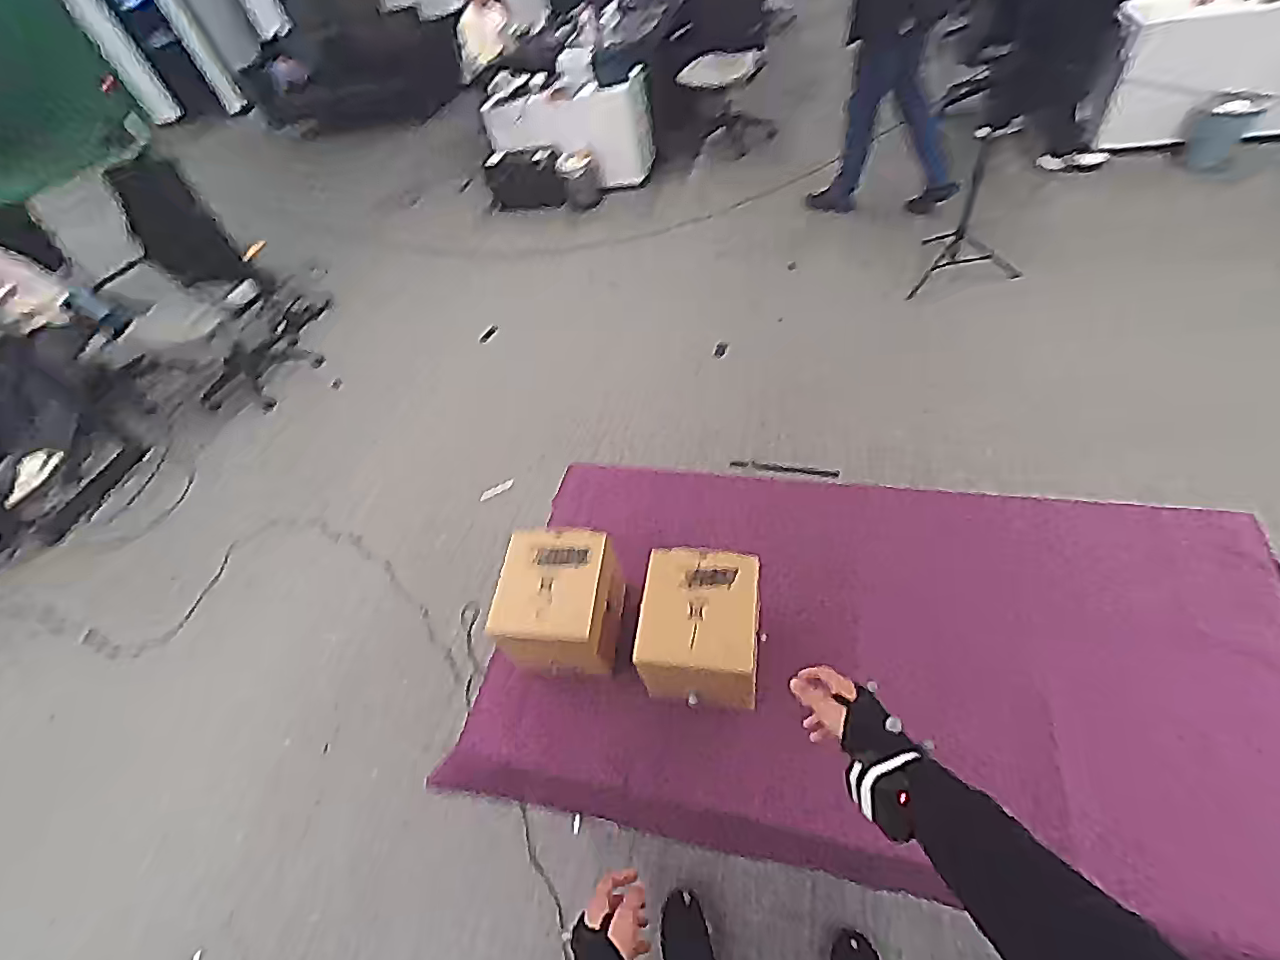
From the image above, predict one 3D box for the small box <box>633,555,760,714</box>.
[{"bbox_3d":[0.097,0.236,0.827,0.168,0.176,0.179,1,52,14],"label":"small box"}]
